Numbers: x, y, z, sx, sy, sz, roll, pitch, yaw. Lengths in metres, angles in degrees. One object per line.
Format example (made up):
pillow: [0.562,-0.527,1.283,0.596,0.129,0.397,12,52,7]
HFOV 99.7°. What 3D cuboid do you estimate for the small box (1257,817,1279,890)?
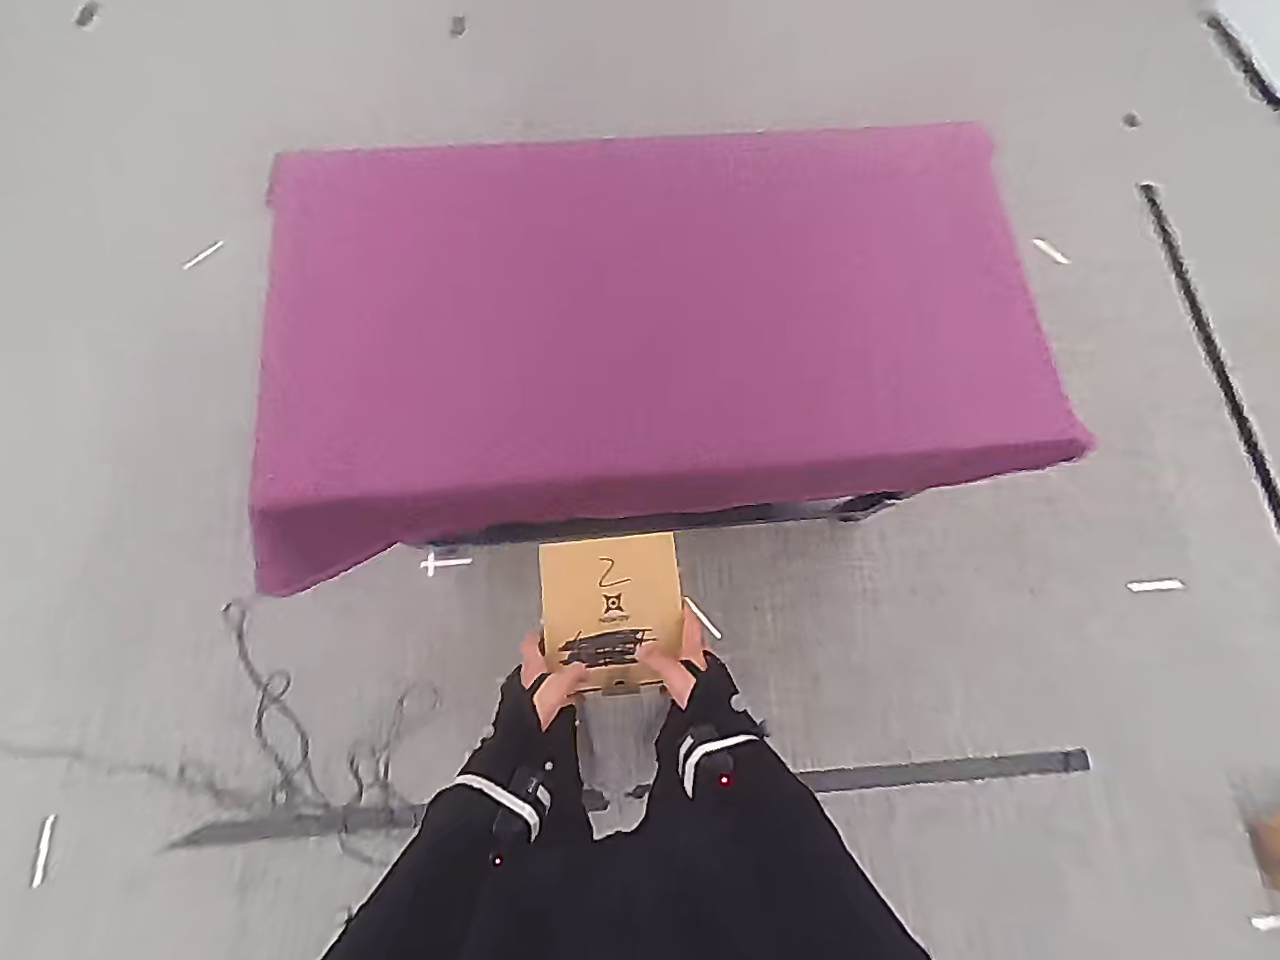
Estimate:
small box: [1.626,0.895,1.253,0.179,0.176,0.168,-7,75,-3]
